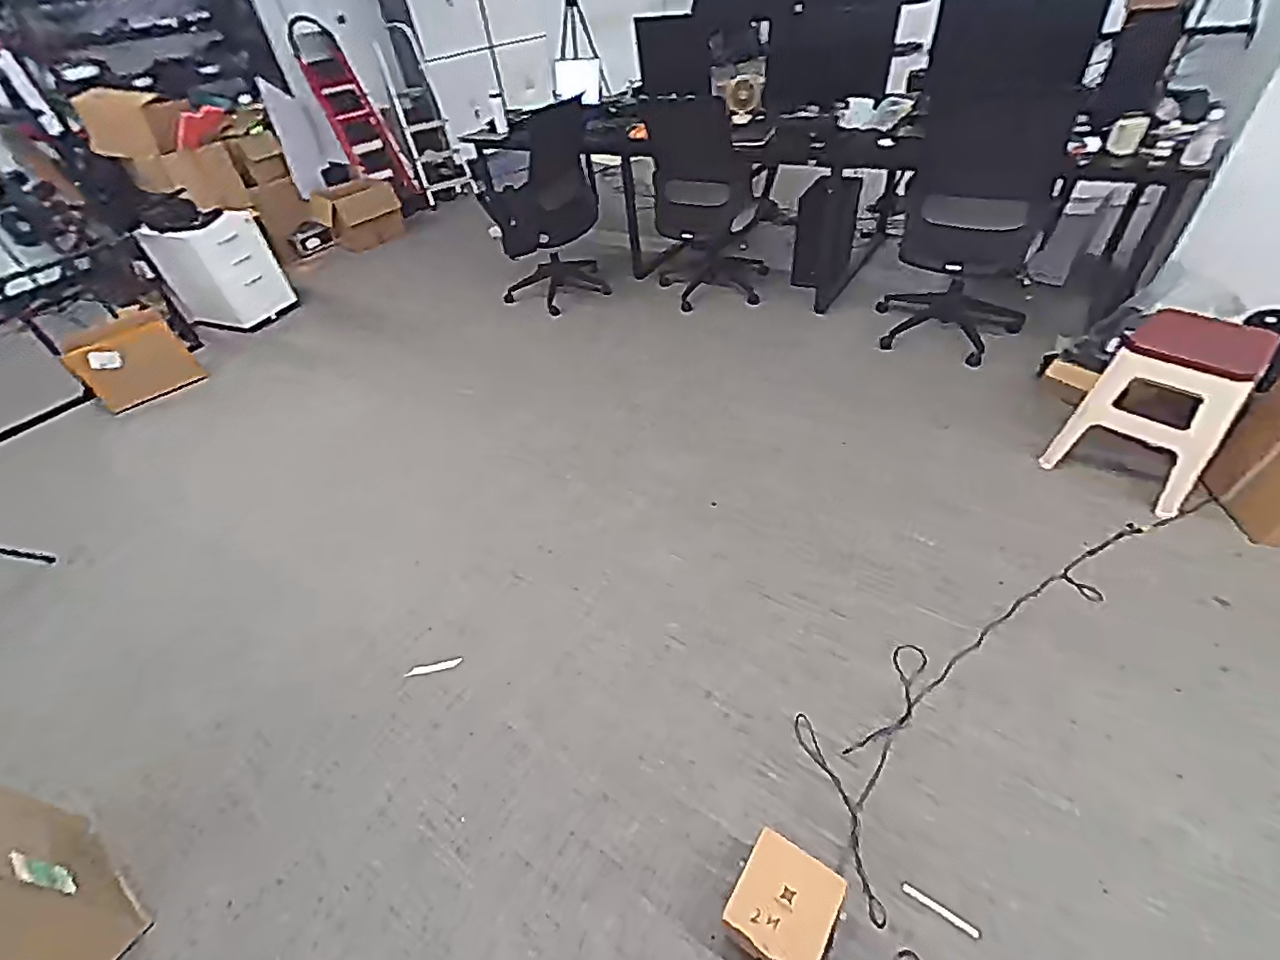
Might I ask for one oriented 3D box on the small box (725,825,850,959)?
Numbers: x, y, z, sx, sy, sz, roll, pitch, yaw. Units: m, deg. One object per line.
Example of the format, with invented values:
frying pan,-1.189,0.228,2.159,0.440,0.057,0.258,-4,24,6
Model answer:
small box,0.271,0.802,1.012,0.168,0.176,0.179,21,51,31
